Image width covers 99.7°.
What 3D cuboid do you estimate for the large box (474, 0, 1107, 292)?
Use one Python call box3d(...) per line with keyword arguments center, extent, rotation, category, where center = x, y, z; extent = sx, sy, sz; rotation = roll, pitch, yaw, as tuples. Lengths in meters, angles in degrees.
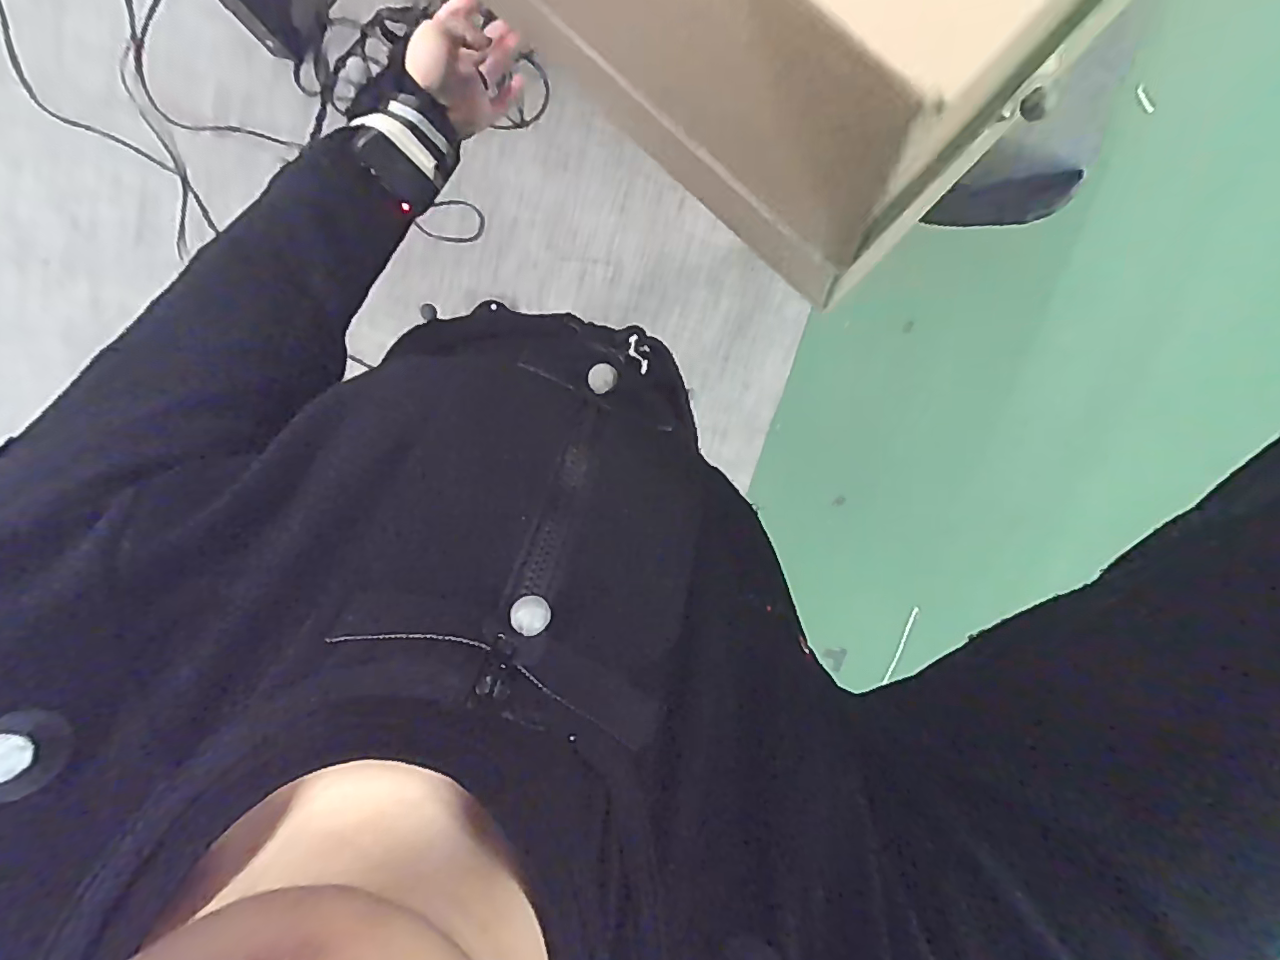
box3d(center=(0.068, -0.357, 0.260), extent=(0.408, 0.320, 0.320), rotation=(42, 106, 4), category="large box")
